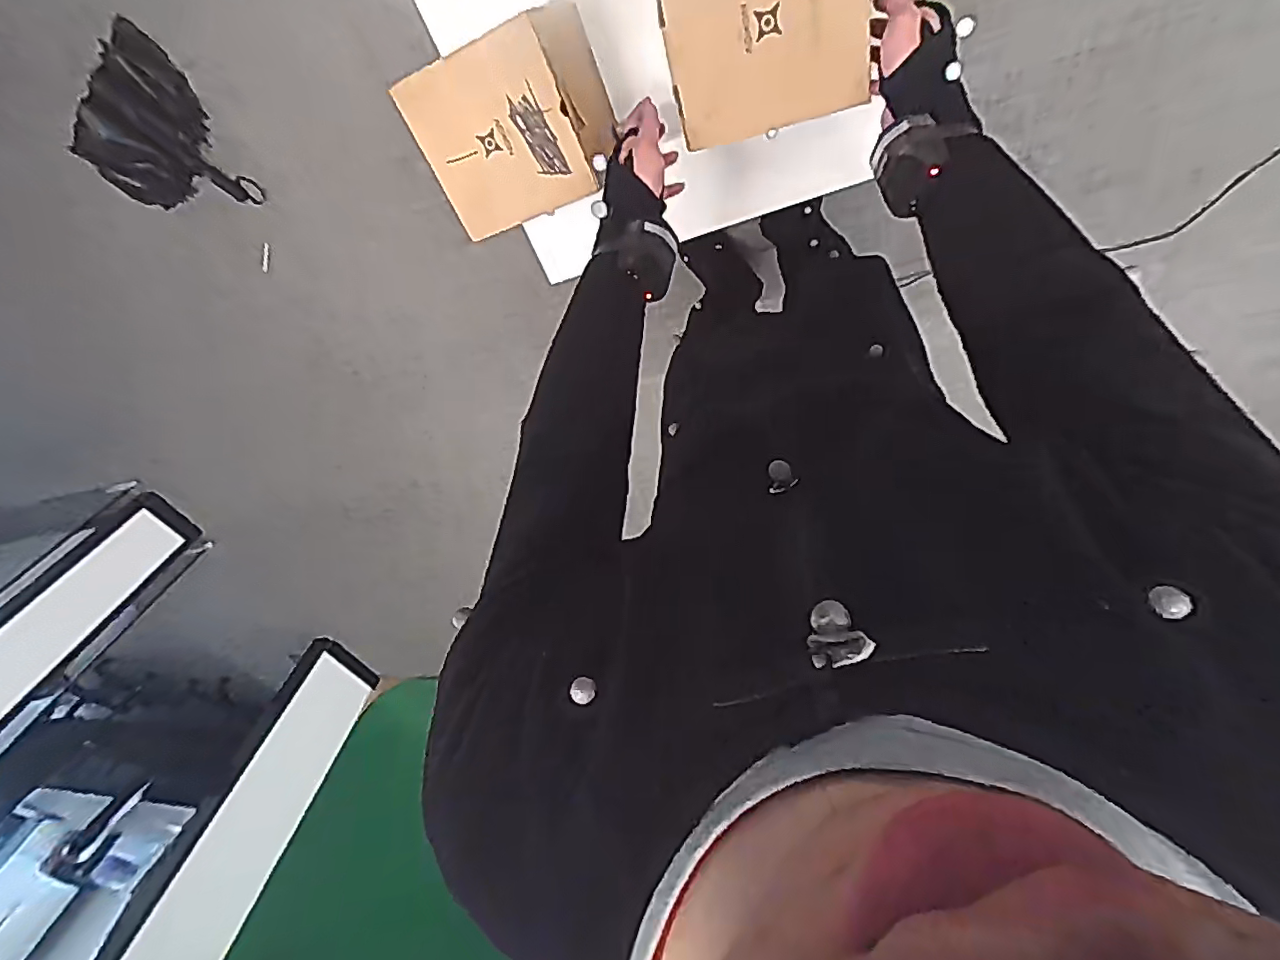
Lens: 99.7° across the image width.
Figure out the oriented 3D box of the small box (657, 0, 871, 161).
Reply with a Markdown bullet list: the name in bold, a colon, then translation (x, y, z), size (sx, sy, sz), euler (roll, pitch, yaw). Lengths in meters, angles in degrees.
- **small box**: translation (0.125, -0.445, 0.535), size (0.179, 0.176, 0.168), euler (-6, 131, 19)
